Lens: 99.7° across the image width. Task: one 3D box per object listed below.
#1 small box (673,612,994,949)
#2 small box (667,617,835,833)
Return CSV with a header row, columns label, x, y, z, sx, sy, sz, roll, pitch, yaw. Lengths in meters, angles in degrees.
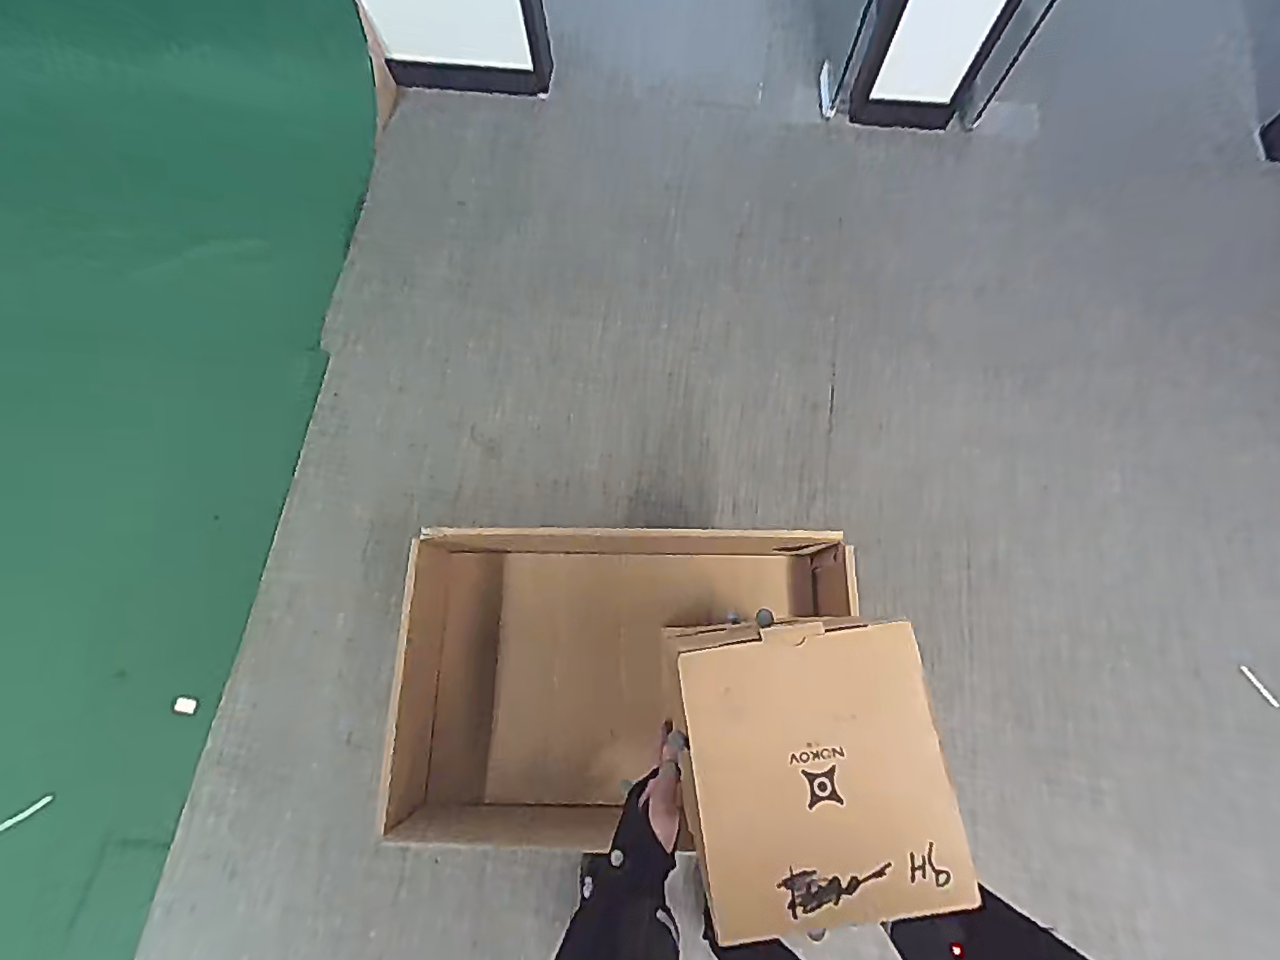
label,x,y,z,sx,sy,sz,roll,pitch,yaw
small box,0.119,0.203,0.416,0.168,0.176,0.179,-7,75,-1
small box,0.120,0.242,0.574,0.168,0.176,0.179,-5,75,-1
